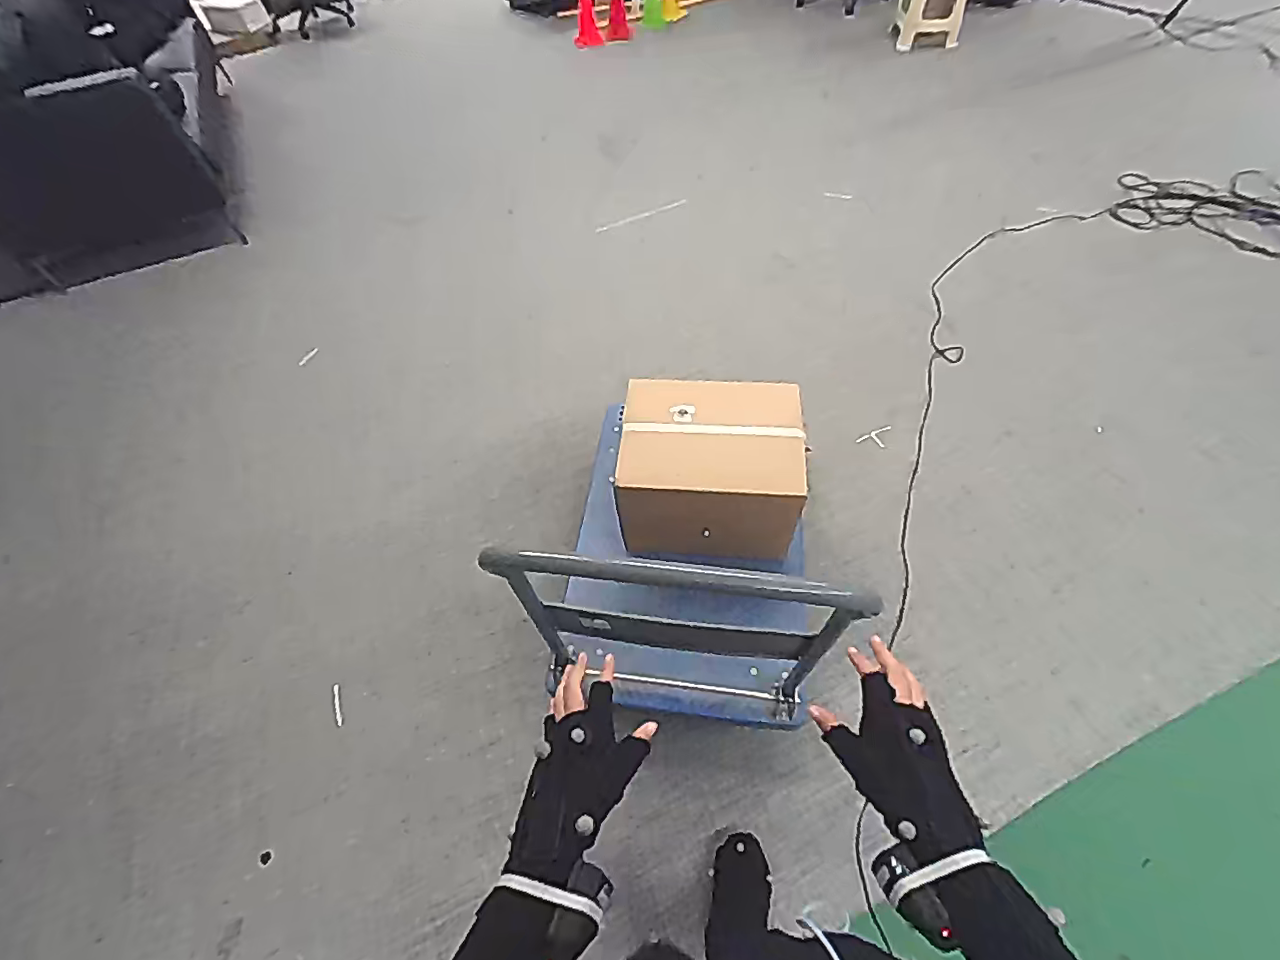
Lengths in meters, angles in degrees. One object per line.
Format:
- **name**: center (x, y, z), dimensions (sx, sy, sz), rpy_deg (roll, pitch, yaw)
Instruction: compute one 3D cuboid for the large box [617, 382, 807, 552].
- **large box**: center (0.173, -0.026, 1.340), dimensions (0.408, 0.320, 0.320), rpy_deg (1, 56, 7)
